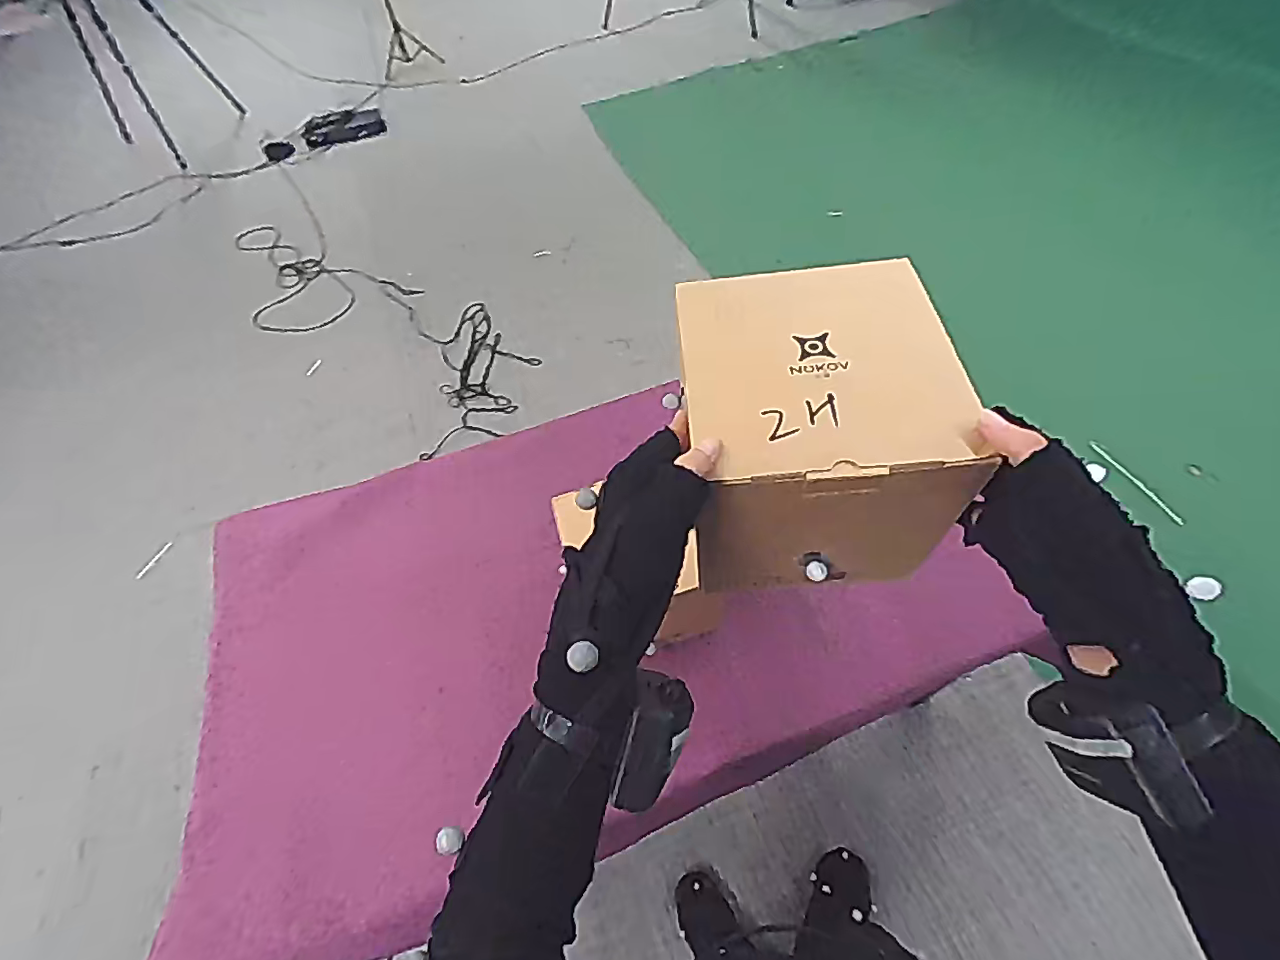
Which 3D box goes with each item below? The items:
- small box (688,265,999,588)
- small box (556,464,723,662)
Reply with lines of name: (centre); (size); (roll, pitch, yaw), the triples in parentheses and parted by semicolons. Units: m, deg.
small box: (0.122, -0.033, 0.411); (0.168, 0.176, 0.179); (-4, 56, 5)
small box: (0.000, 0.112, 0.709); (0.168, 0.176, 0.179); (-17, 56, -4)
